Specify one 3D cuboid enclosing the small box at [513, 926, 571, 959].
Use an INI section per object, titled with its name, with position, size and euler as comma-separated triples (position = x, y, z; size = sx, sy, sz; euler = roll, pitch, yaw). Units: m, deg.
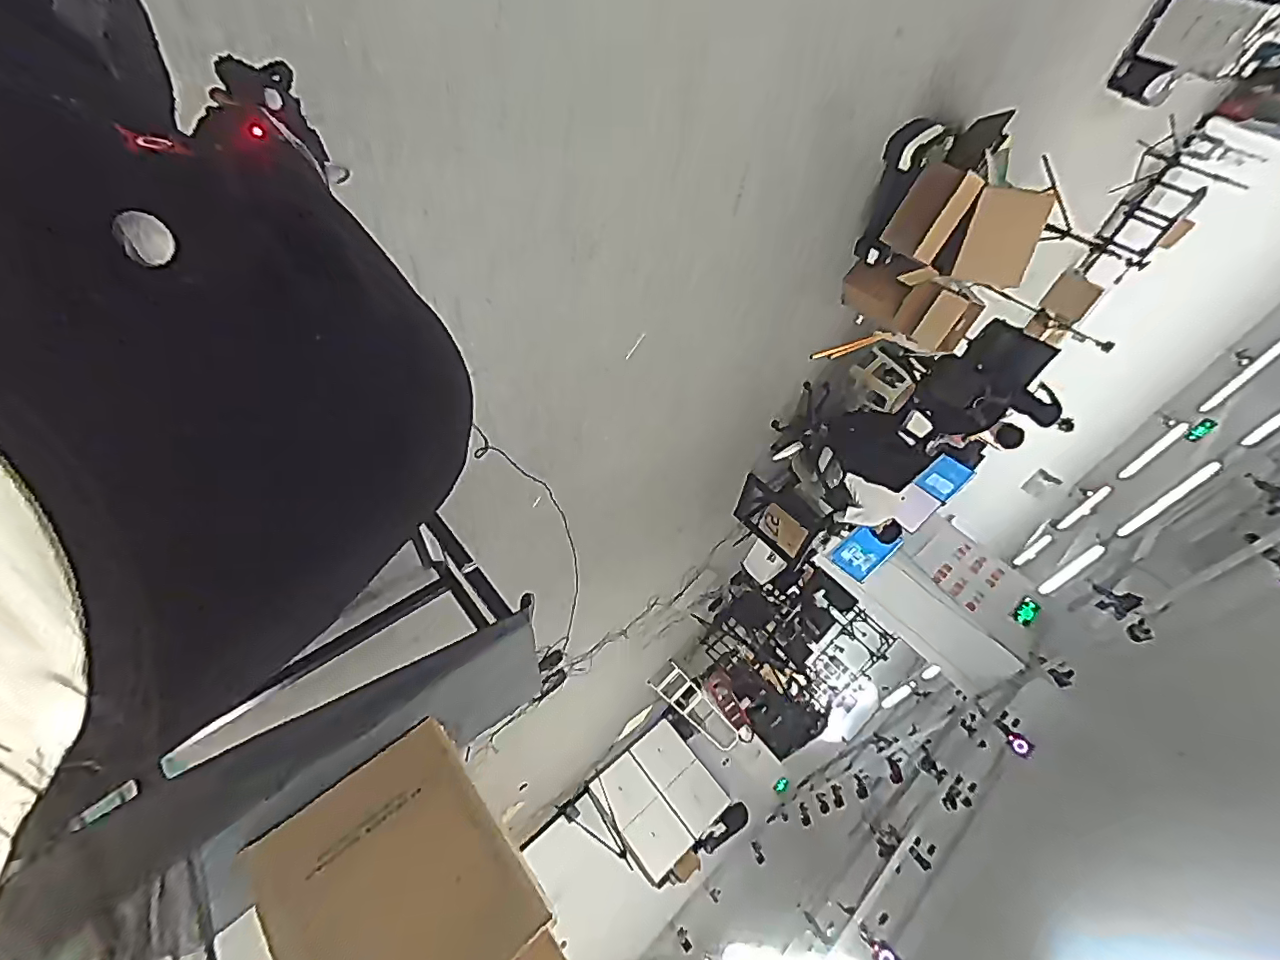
[small box]
position = -0.246, 1.244, 1.321
size = 0.179, 0.176, 0.168
euler = -33, 149, -24
